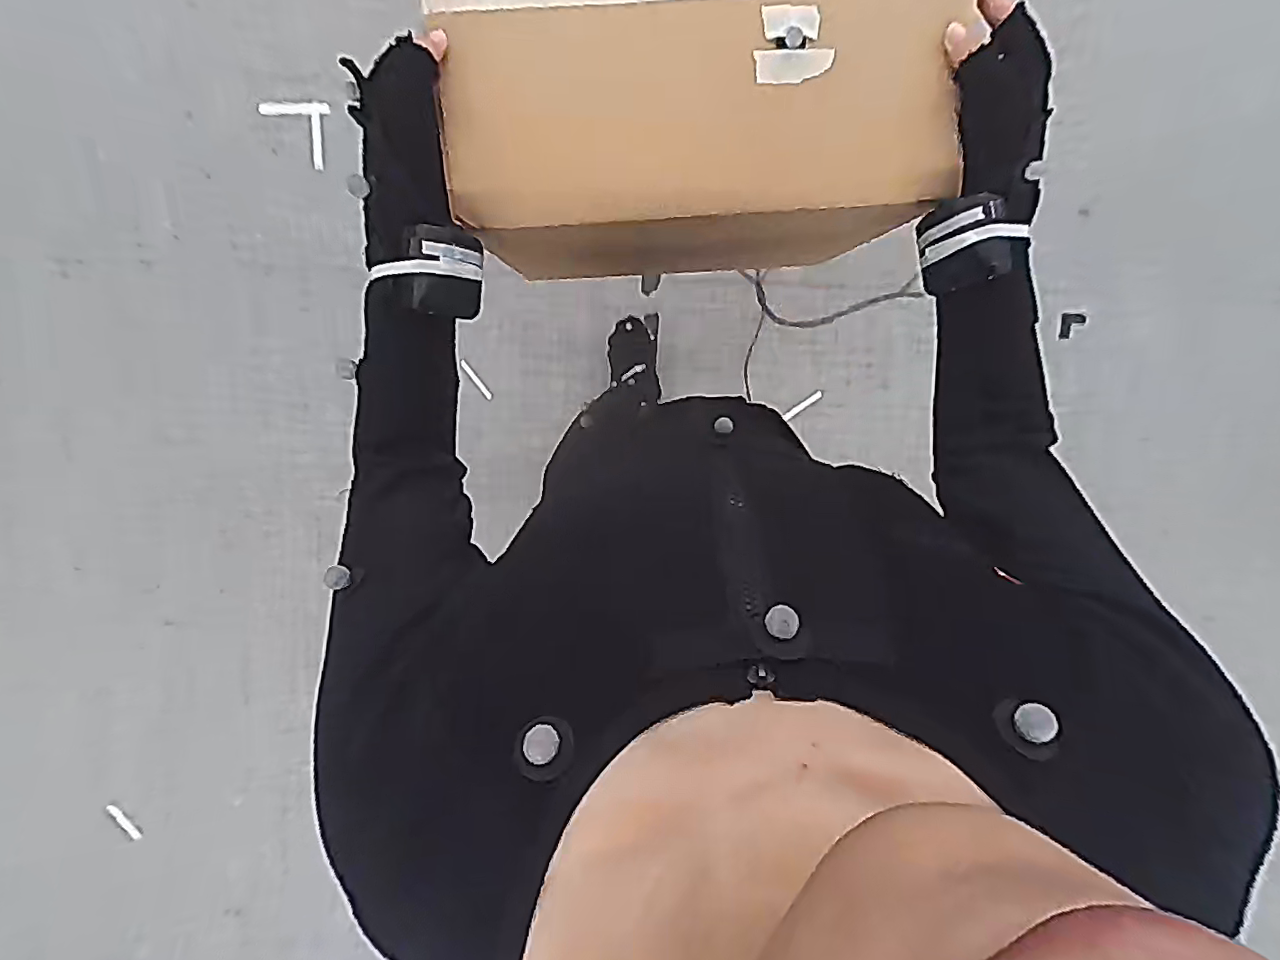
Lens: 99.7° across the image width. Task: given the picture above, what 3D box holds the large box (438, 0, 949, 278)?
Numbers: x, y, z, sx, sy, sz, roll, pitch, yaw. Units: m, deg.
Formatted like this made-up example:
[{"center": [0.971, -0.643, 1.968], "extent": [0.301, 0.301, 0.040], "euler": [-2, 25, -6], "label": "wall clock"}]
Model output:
[{"center": [0.036, -0.407, 0.560], "extent": [0.408, 0.320, 0.320], "euler": [-4, 103, -1], "label": "large box"}]
